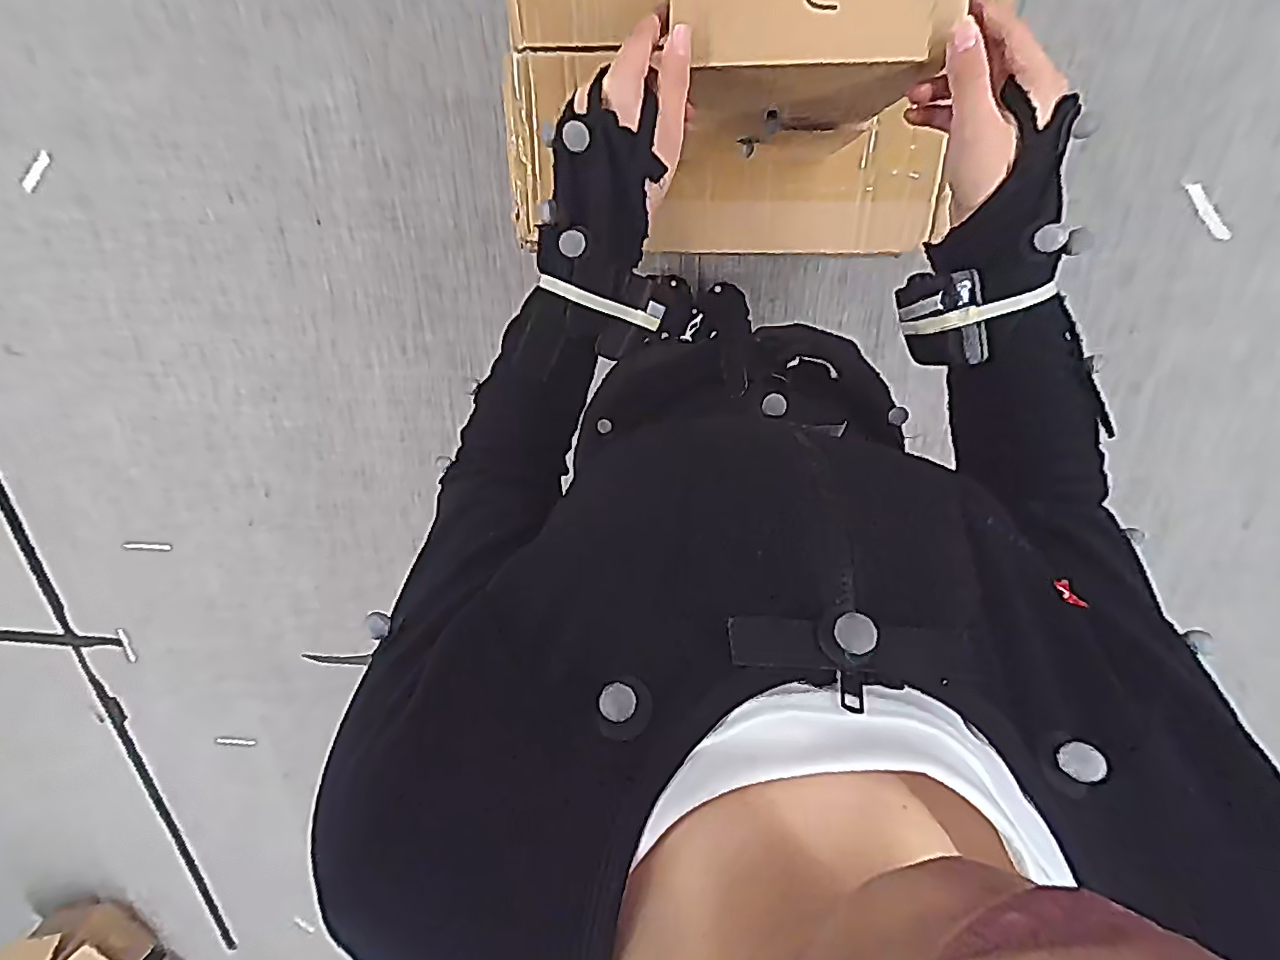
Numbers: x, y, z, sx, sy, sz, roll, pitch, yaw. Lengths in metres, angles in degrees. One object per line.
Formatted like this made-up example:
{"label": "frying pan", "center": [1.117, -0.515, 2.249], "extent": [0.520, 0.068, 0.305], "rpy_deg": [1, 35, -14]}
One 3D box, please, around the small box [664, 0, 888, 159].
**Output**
{"label": "small box", "center": [0.116, -0.407, 0.506], "extent": [0.179, 0.176, 0.168], "rpy_deg": [2, 113, 4]}
